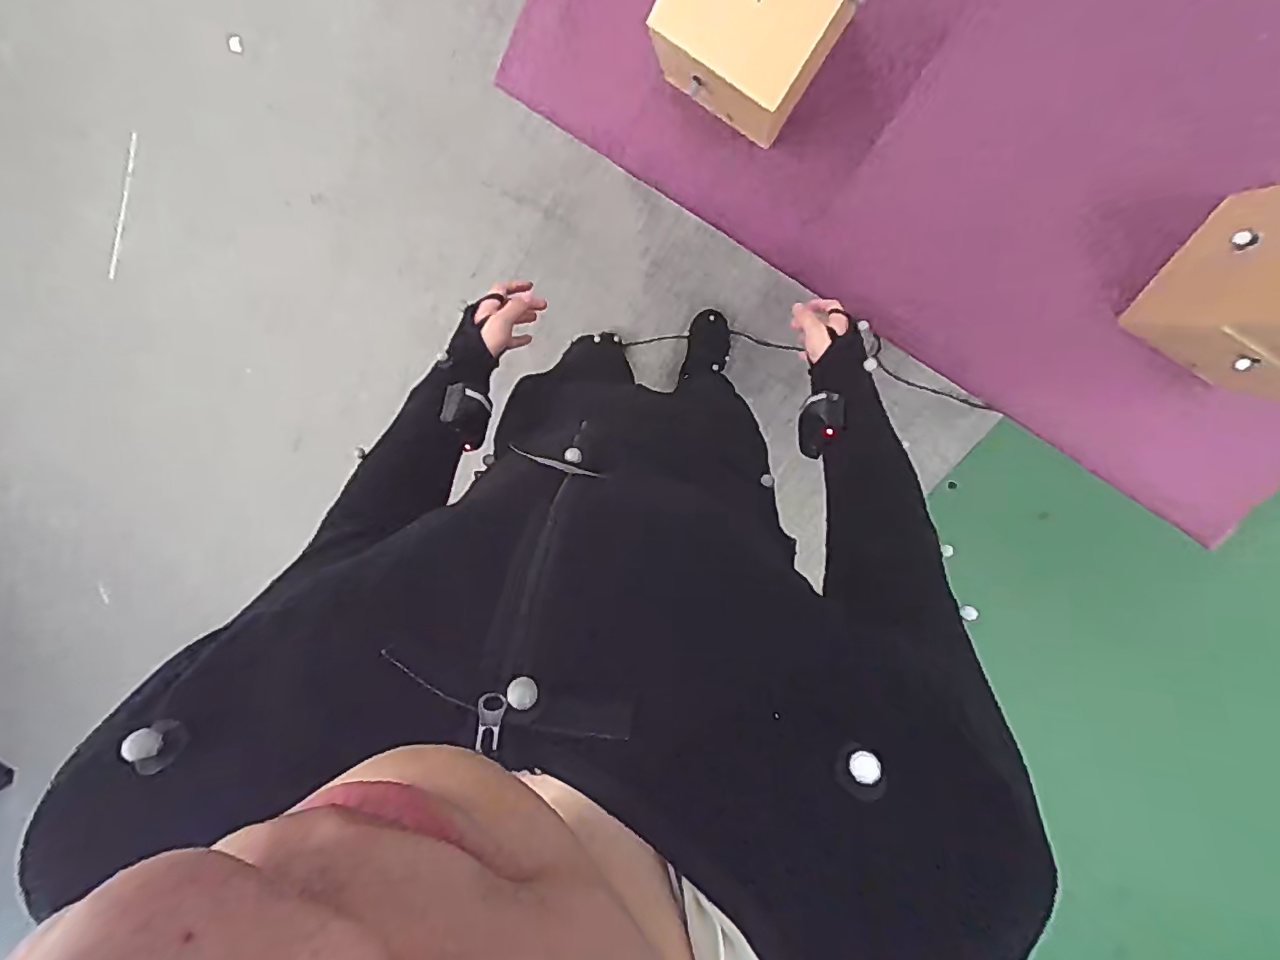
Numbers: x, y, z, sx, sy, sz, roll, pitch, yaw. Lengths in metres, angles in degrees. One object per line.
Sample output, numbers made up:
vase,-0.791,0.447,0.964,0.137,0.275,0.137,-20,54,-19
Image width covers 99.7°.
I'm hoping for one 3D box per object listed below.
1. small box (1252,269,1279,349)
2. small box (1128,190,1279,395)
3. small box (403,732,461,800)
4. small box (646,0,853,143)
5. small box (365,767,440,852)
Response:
small box,0.697,-0.160,0.451,0.168,0.176,0.179,33,110,-2
small box,0.724,-0.210,0.605,0.168,0.176,0.179,32,110,0
small box,-0.826,1.136,2.116,0.168,0.176,0.179,27,111,0
small box,0.131,-0.522,0.608,0.168,0.176,0.179,33,111,-2
small box,-0.853,1.189,1.963,0.168,0.176,0.179,30,112,-1
